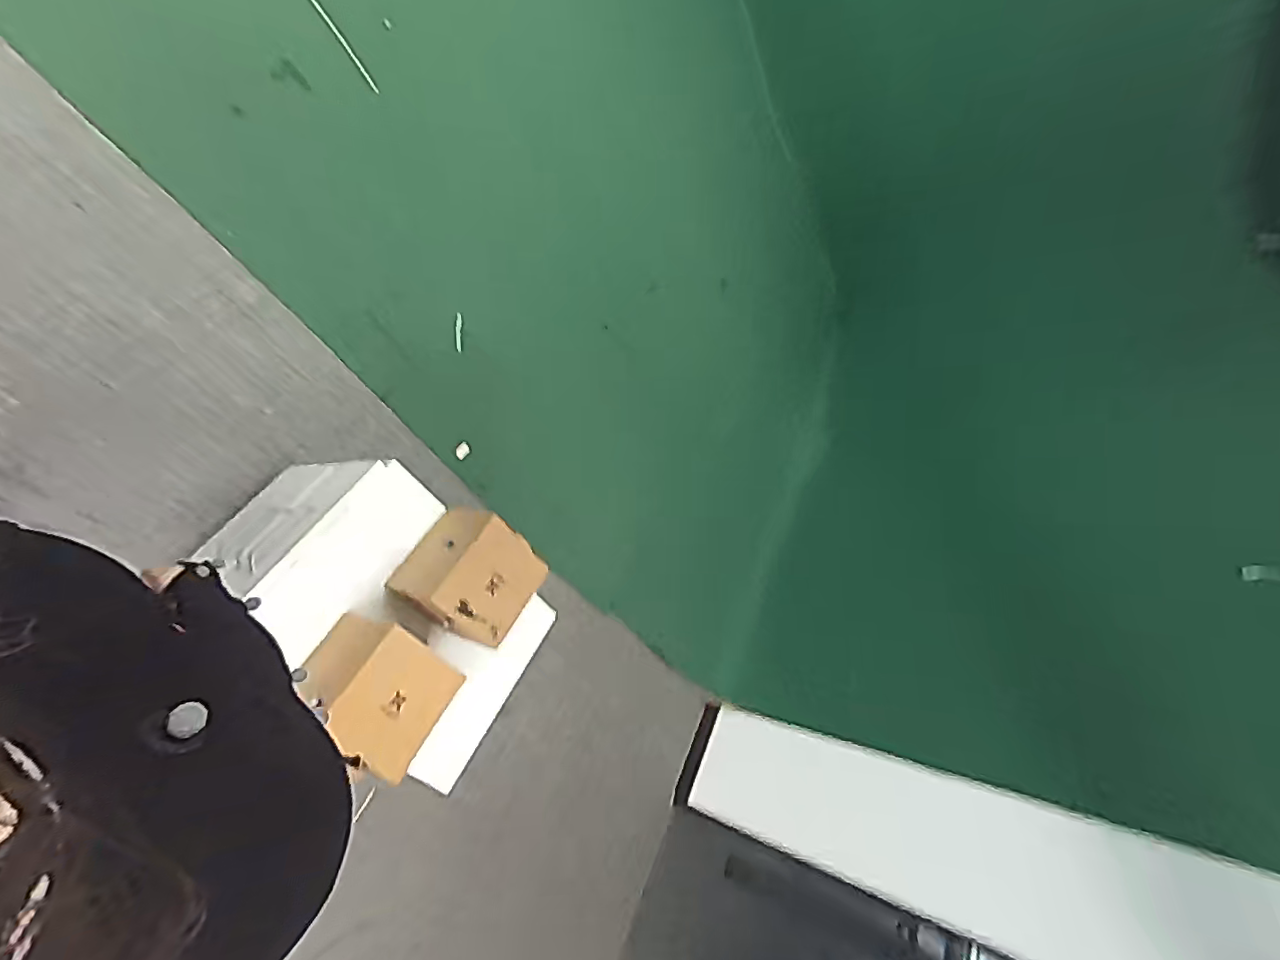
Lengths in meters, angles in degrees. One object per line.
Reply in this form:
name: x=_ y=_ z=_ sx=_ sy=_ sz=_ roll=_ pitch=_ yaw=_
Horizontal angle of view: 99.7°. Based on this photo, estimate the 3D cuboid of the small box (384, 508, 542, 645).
small box: x=-0.319 y=0.164 z=0.974 sx=0.168 sy=0.176 sz=0.179 roll=55 pitch=53 yaw=-34
